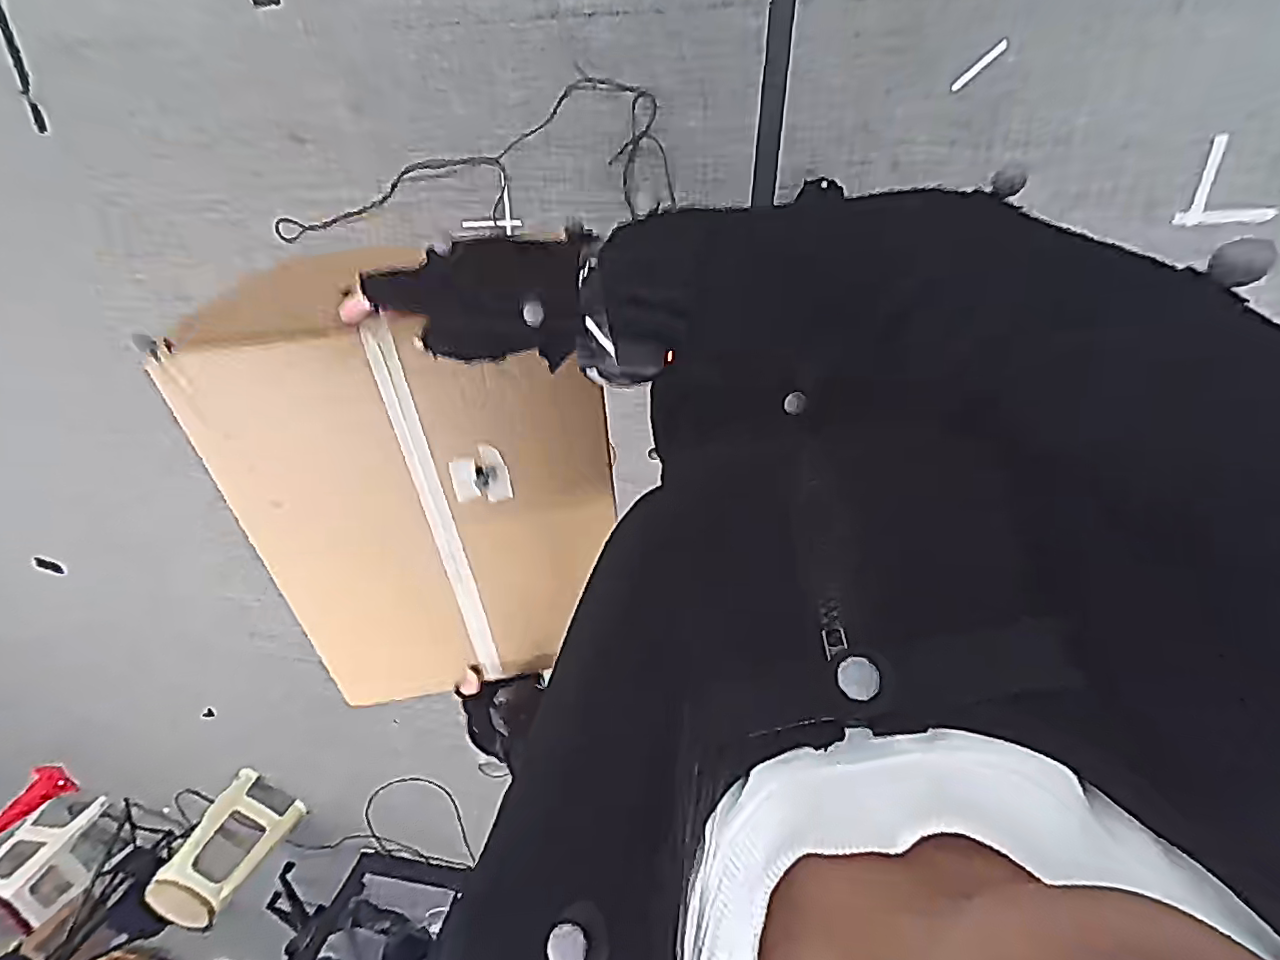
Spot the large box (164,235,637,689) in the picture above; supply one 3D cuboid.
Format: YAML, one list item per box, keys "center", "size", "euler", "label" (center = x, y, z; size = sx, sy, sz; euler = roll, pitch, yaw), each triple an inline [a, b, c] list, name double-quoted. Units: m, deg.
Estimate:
- center: [-0.200, -0.034, 0.632]
  size: [0.320, 0.320, 0.408]
  euler: [-11, 123, -7]
  label: "large box"
